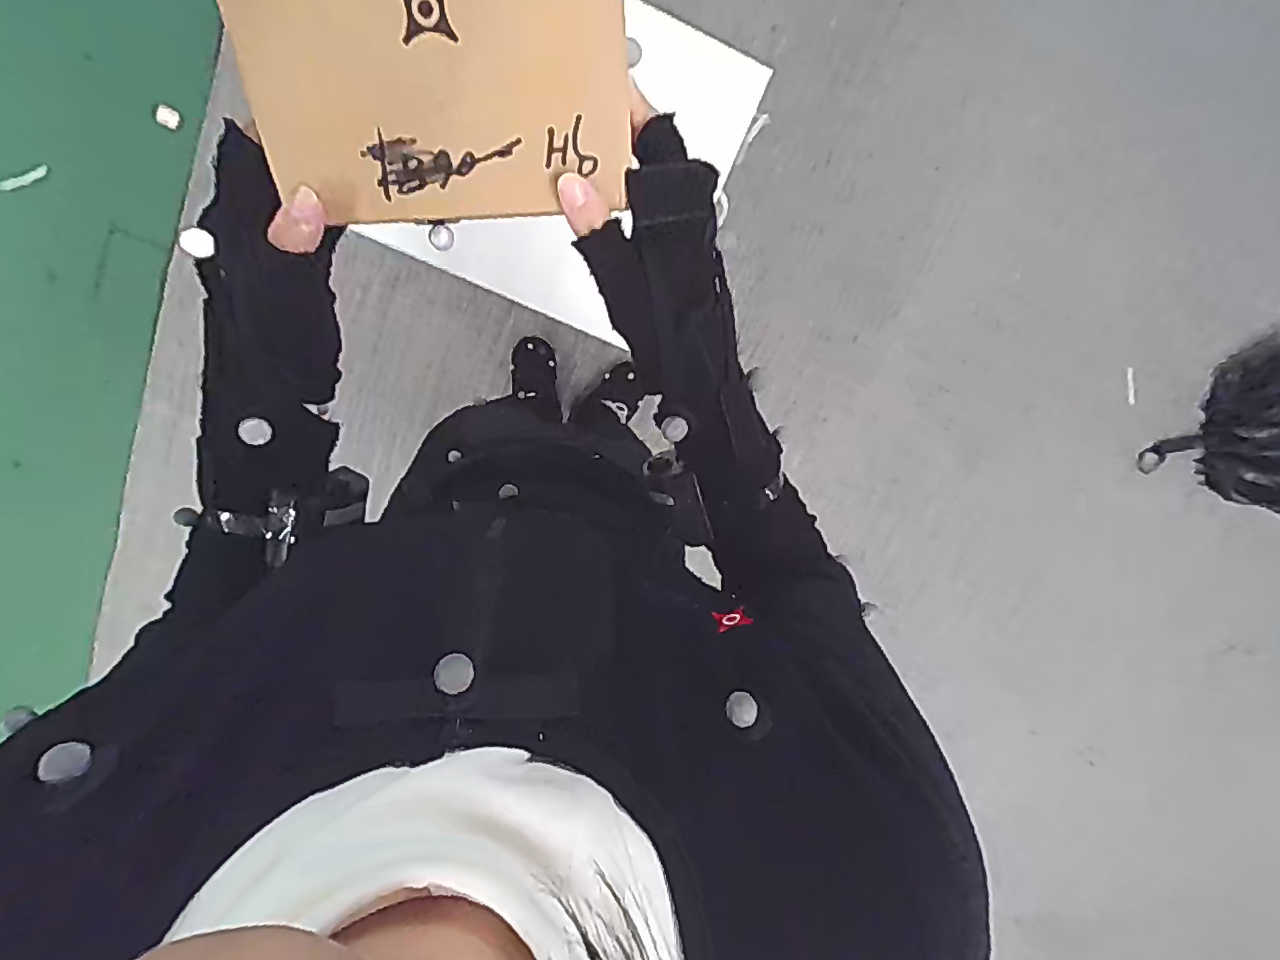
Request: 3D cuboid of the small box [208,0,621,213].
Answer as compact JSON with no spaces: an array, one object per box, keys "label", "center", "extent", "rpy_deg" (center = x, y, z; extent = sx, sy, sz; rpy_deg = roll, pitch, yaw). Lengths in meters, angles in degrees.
[{"label":"small box","center":[-0.101,-0.246,0.290],"extent":[0.168,0.176,0.179],"rpy_deg":[-5,116,-2]}]
